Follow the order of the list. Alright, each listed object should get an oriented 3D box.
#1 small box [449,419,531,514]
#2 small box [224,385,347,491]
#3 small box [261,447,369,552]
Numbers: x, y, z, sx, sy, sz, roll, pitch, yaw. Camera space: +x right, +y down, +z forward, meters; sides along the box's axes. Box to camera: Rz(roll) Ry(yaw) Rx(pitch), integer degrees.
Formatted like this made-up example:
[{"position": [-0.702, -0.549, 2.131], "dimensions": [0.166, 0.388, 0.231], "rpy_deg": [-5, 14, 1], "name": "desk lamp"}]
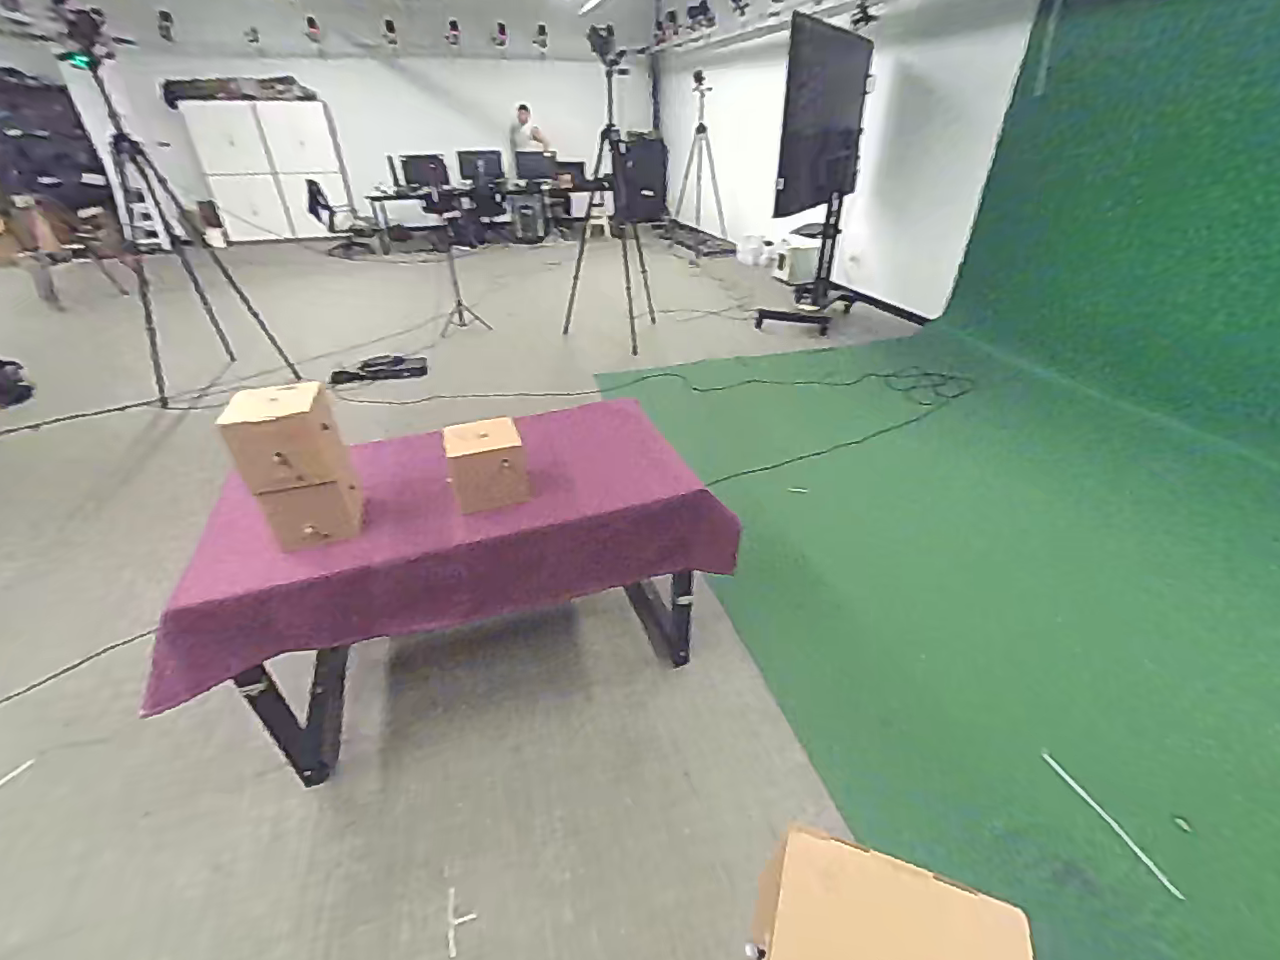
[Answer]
[{"position": [-0.382, -0.037, 1.390], "dimensions": [0.179, 0.176, 0.168], "rpy_deg": [-13, 34, -16], "name": "small box"}, {"position": [-0.763, -0.088, 1.187], "dimensions": [0.168, 0.176, 0.179], "rpy_deg": [-11, 35, -15], "name": "small box"}, {"position": [-0.759, 0.044, 1.285], "dimensions": [0.168, 0.176, 0.179], "rpy_deg": [-12, 35, -15], "name": "small box"}]
